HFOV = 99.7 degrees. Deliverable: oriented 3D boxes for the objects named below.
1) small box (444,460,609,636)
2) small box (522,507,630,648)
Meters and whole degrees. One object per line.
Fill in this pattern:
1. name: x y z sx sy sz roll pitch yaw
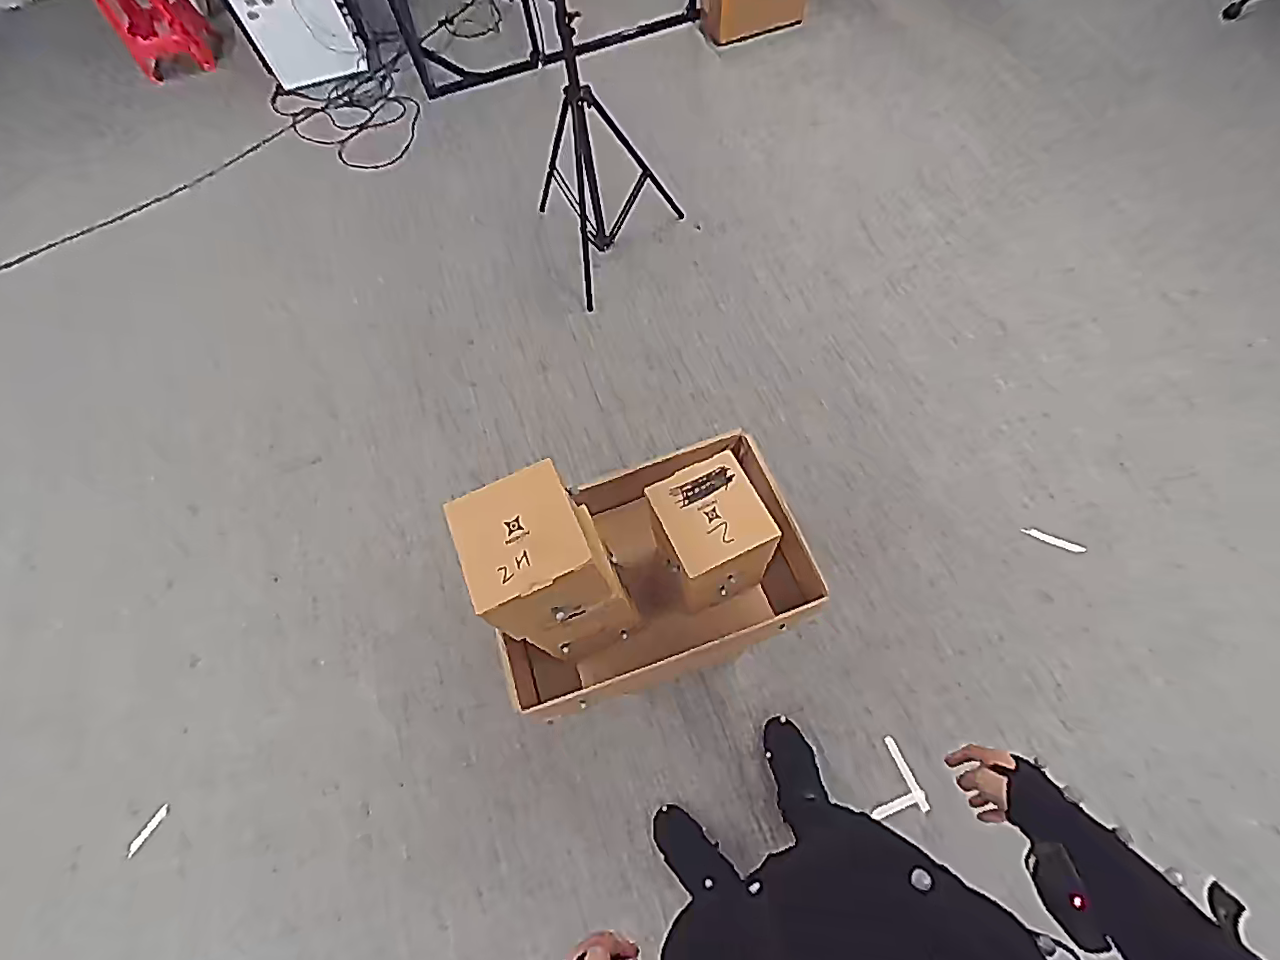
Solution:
1. small box: -0.159 0.106 0.796 0.168 0.176 0.179 -25 64 -5
2. small box: -0.127 0.178 0.942 0.168 0.176 0.179 -23 63 -5
